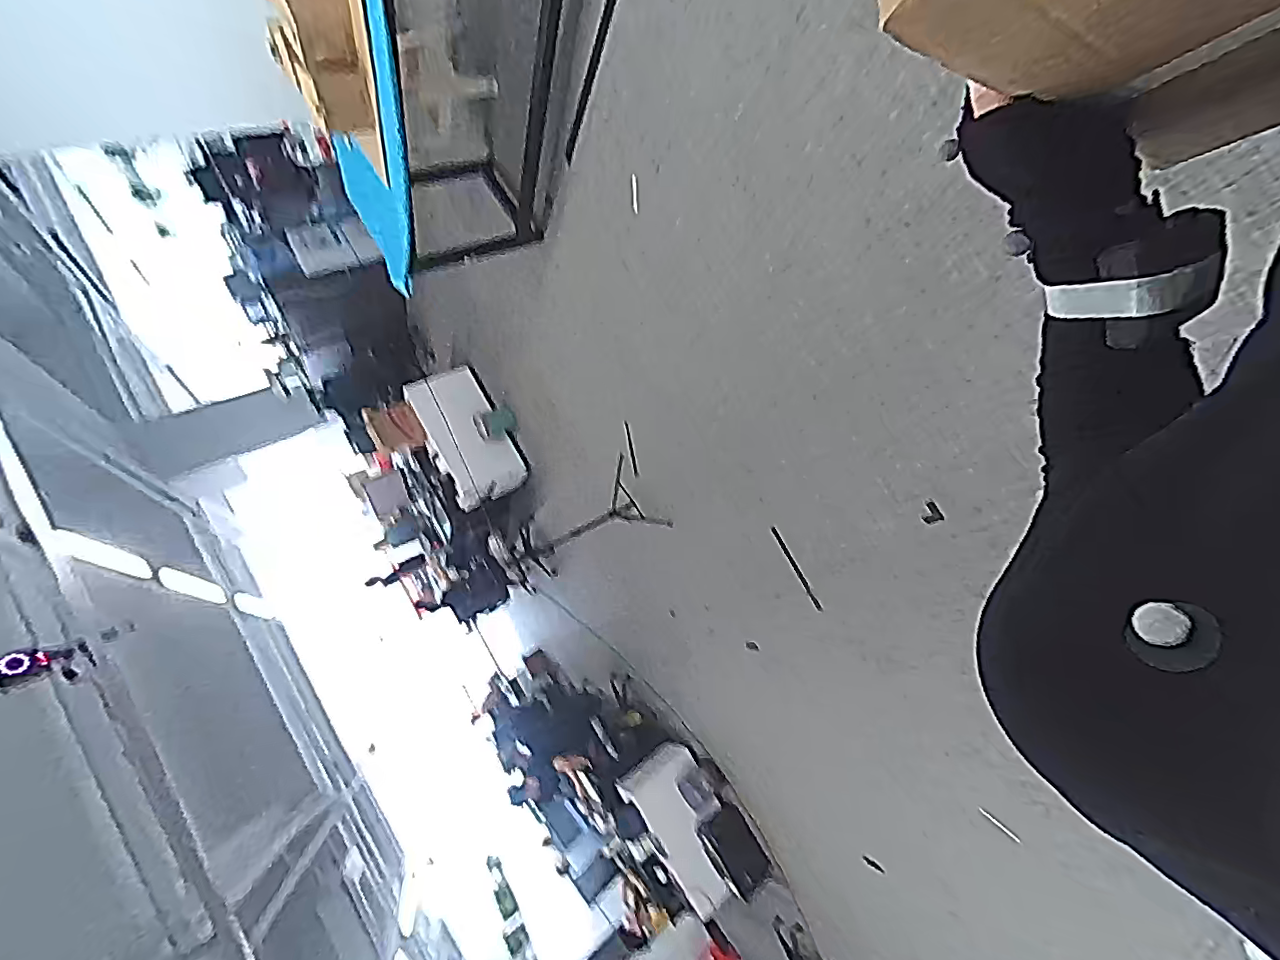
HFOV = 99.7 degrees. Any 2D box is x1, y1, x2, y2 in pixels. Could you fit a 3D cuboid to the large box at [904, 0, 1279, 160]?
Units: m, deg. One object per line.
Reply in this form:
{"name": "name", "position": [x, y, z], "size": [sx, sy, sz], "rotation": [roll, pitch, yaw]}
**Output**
{"name": "large box", "position": [0.318, -0.354, 0.118], "size": [0.408, 0.320, 0.320], "rotation": [0, 96, 58]}
